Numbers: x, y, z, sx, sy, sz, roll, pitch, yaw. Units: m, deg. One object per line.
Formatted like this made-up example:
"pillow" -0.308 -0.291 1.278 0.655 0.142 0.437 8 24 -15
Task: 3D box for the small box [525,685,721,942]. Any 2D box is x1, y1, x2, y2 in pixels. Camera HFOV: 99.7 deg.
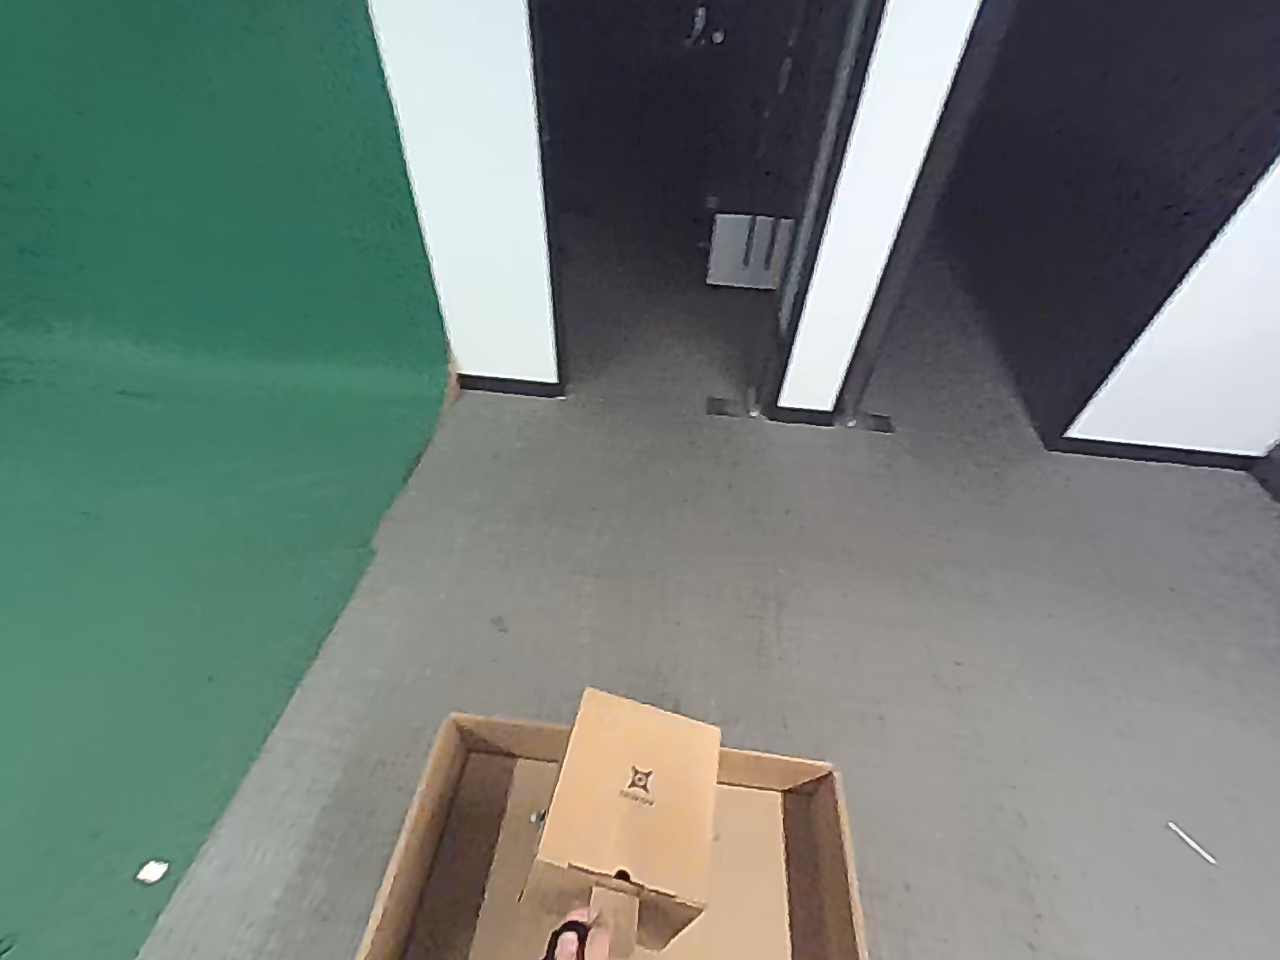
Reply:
"small box" -0.020 0.369 0.601 0.168 0.176 0.179 18 40 1
